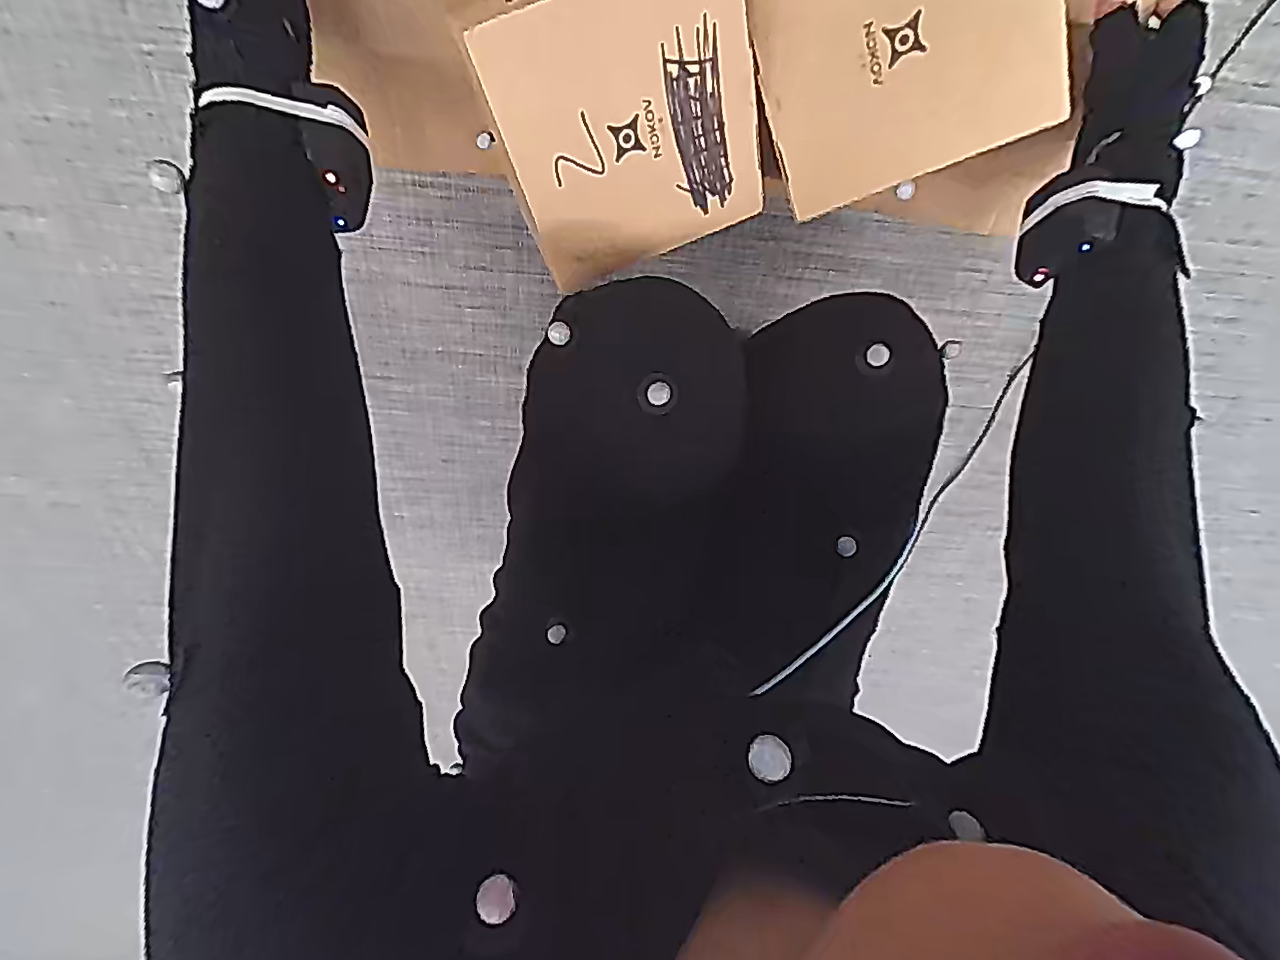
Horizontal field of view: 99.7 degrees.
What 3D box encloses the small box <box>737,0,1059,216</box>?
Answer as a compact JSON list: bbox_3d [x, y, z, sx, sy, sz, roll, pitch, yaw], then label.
[{"bbox_3d":[0.193,-0.335,0.416,0.179,0.176,0.168,-9,120,31],"label":"small box"}]
